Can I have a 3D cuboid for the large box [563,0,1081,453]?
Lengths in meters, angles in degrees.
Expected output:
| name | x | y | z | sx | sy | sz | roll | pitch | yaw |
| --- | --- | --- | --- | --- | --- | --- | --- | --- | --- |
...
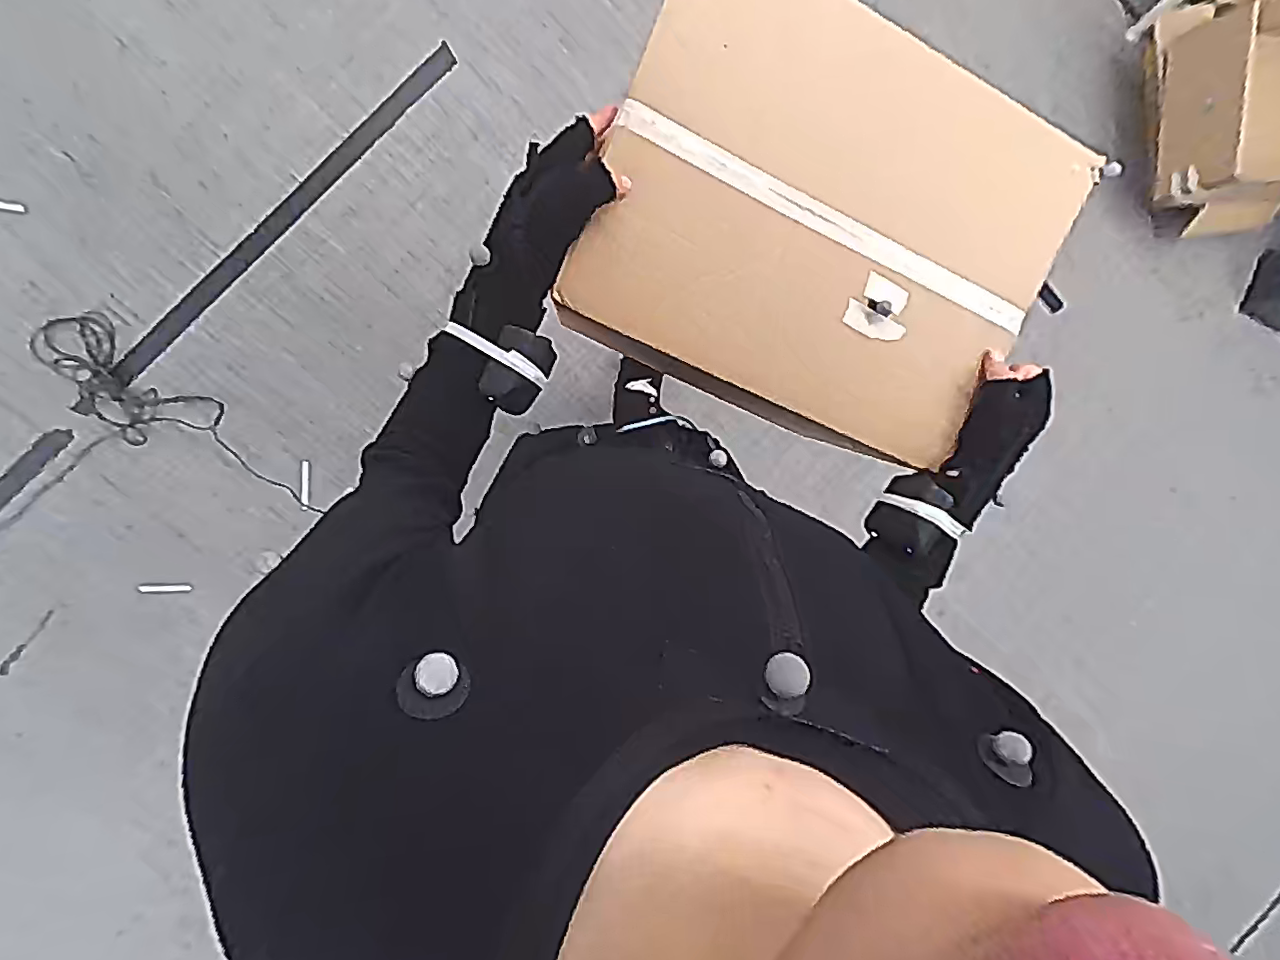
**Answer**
| name | x | y | z | sx | sy | sz | roll | pitch | yaw |
| --- | --- | --- | --- | --- | --- | --- | --- | --- | --- |
| large box | 0.148 | -0.263 | 0.623 | 0.408 | 0.320 | 0.320 | 22 | 100 | -12 |
